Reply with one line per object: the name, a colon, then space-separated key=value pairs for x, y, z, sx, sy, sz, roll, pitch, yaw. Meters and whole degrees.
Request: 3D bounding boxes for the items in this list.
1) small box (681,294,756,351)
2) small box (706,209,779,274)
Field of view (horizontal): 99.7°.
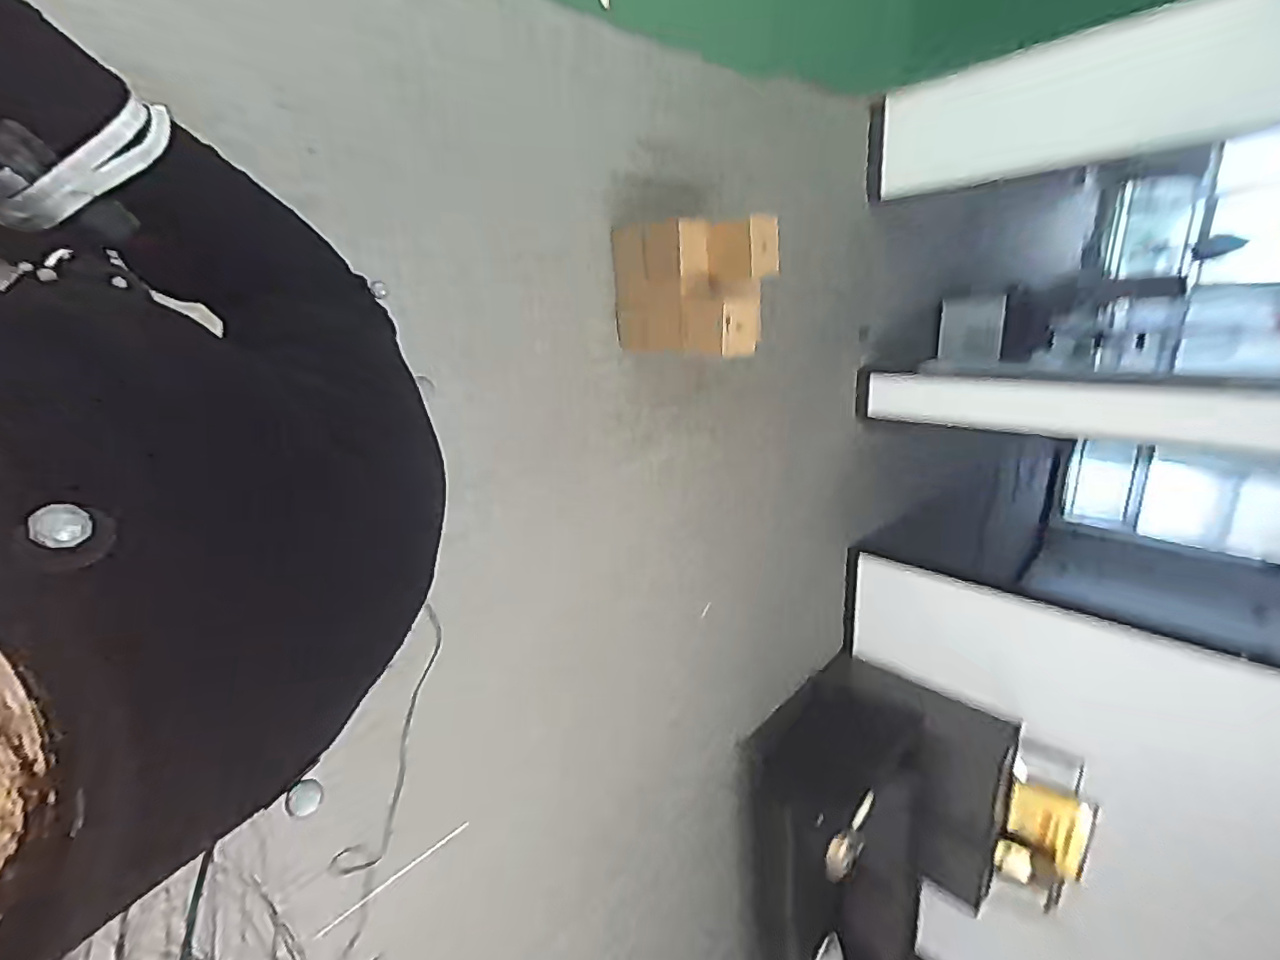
small box: x=0.249 y=-0.502 z=1.720 sx=0.179 sy=0.176 sz=0.168 roll=-18 pitch=114 yaw=-42
small box: x=0.329 y=-0.761 z=1.737 sx=0.168 sy=0.176 sz=0.179 roll=-25 pitch=116 yaw=-41
